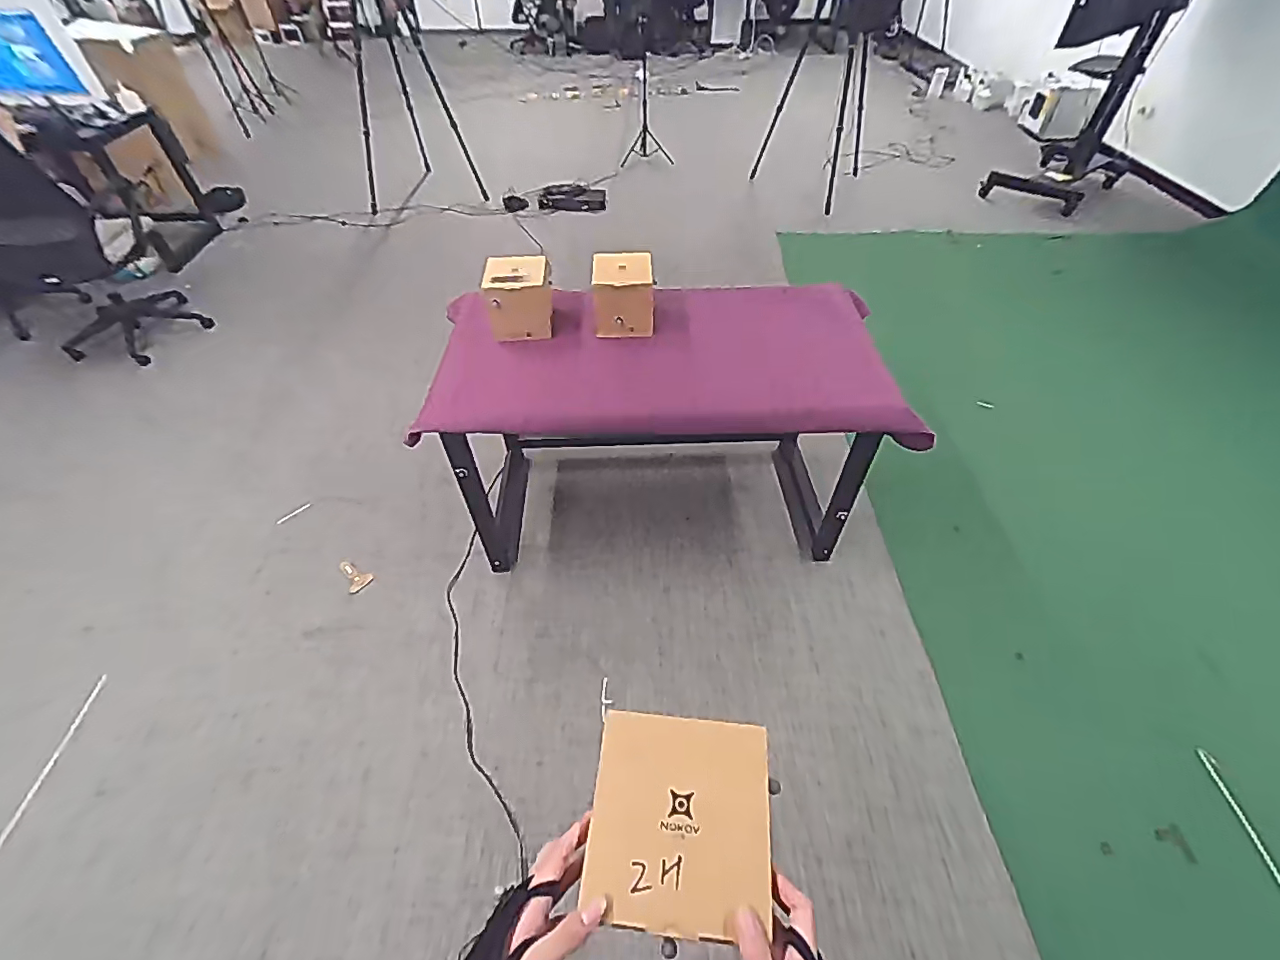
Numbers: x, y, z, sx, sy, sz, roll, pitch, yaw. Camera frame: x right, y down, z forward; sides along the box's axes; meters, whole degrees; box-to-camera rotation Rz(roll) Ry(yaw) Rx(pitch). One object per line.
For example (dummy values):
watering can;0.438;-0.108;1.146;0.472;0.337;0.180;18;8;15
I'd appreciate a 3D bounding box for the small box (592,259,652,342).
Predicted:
small box;-0.051;-0.521;1.571;0.168;0.176;0.179;-2;49;0

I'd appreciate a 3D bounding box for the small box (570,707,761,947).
small box;0.034;0.363;0.567;0.168;0.176;0.179;3;50;7
